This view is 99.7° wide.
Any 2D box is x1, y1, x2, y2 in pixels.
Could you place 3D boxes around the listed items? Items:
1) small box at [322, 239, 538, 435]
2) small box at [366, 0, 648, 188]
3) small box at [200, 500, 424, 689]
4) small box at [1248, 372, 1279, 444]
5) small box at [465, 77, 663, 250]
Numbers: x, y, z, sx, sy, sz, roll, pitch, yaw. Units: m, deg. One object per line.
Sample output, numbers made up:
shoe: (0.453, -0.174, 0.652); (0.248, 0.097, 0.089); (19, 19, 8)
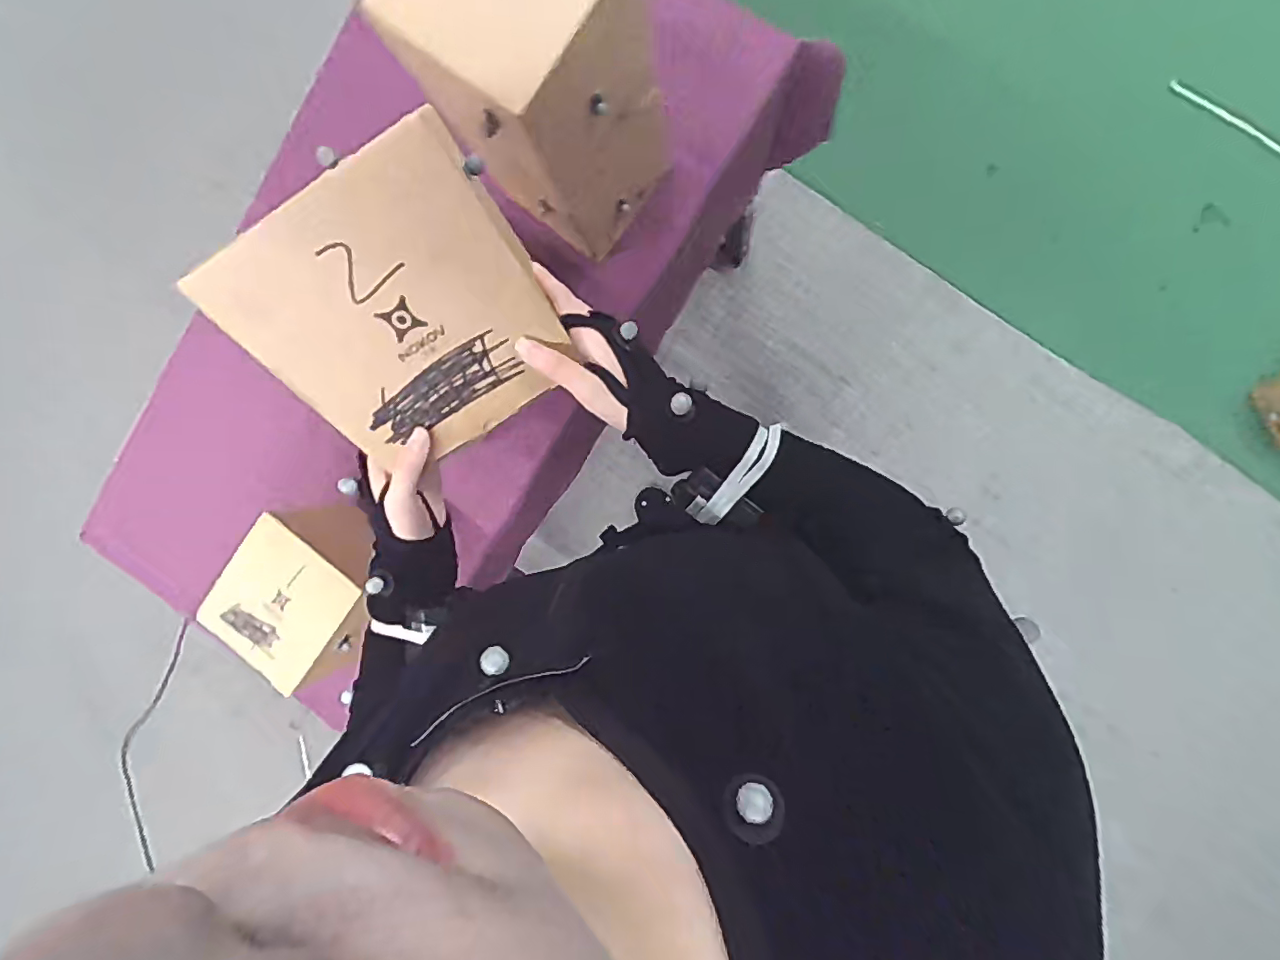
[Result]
small box: (-0.263, -0.172, 0.719); (0.168, 0.176, 0.179); (38, 97, 5)
small box: (-0.109, -0.422, 0.523); (0.179, 0.176, 0.168); (37, 96, 4)
small box: (-0.441, 0.146, 0.755); (0.168, 0.176, 0.179); (37, 96, 5)
small box: (1.561, -0.188, 1.212); (0.179, 0.176, 0.168); (-30, 88, 8)
small box: (-0.089, -0.428, 0.687); (0.179, 0.176, 0.168); (39, 97, 4)
